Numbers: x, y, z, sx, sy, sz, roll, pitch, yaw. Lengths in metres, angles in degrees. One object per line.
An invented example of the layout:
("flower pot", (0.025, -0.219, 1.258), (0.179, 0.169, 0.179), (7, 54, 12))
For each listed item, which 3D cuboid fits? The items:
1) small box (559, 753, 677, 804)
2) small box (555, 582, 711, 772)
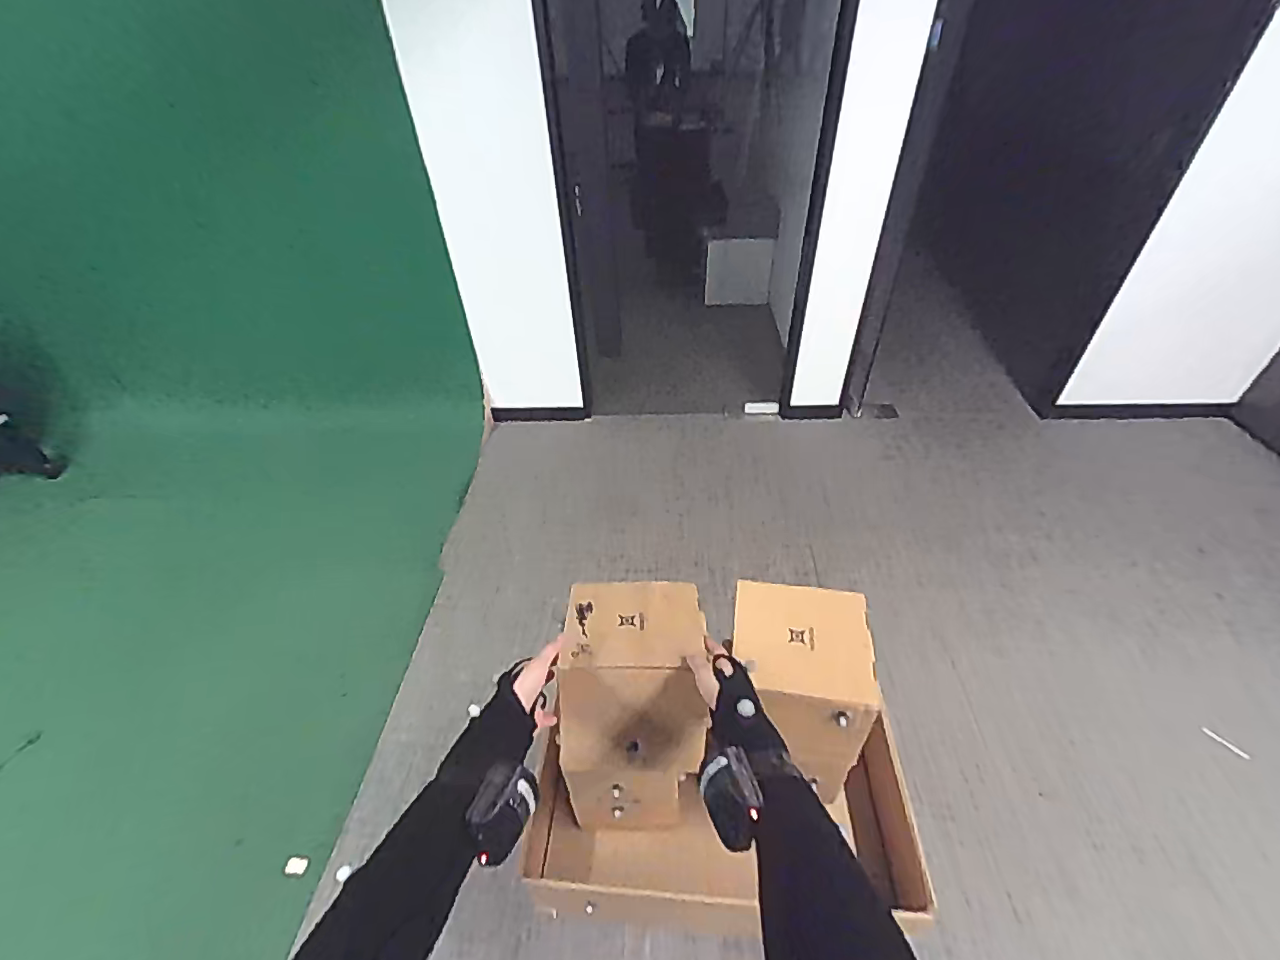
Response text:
("small box", (-0.023, 0.392, 0.858), (0.168, 0.176, 0.179), (1, 42, 4))
("small box", (-0.009, 0.252, 0.702), (0.179, 0.176, 0.168), (1, 24, 0))
